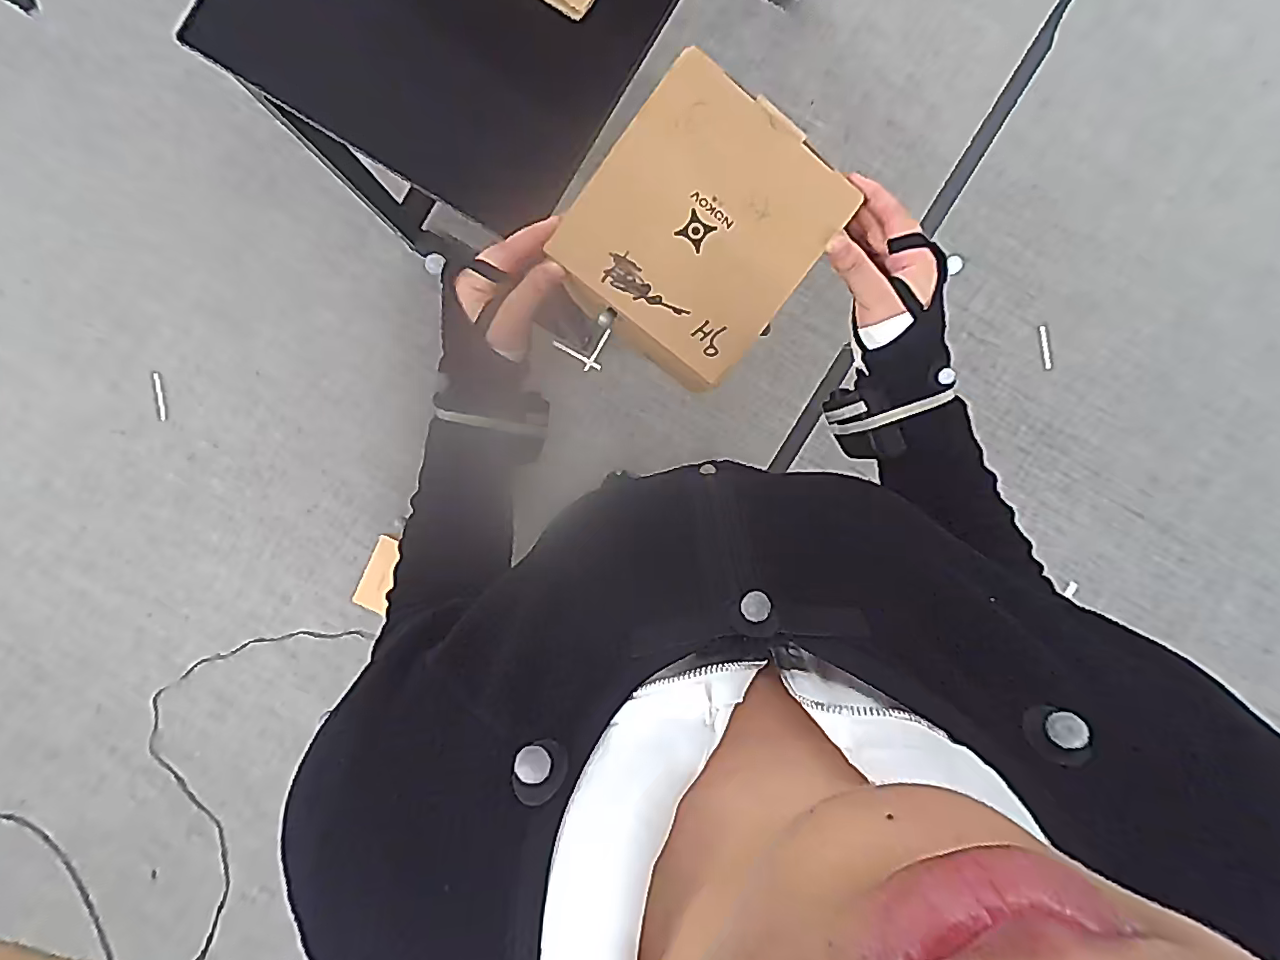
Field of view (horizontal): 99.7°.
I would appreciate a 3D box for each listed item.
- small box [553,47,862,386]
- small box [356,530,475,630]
[{"bbox_3d":[0.047,-0.201,0.474,0.168,0.176,0.179,38,95,-5],"label":"small box"},{"bbox_3d":[-0.520,0.226,1.280,0.179,0.176,0.168,25,90,2],"label":"small box"}]
